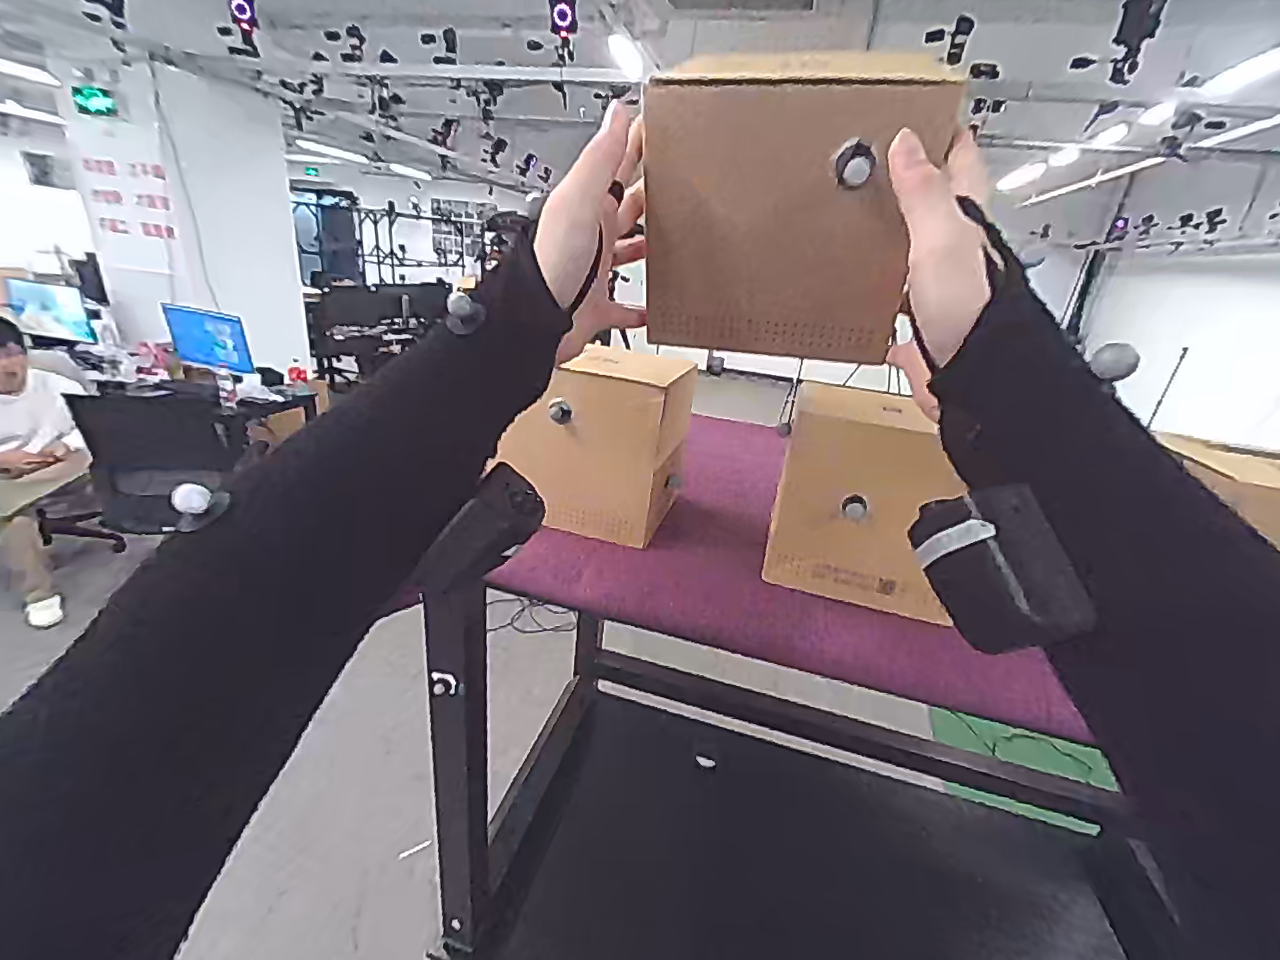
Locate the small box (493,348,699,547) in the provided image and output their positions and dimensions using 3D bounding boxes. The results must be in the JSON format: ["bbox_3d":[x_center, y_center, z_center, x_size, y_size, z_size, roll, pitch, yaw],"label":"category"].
[{"bbox_3d":[-0.046,-0.042,0.594,0.179,0.176,0.168,12,22,12],"label":"small box"}]

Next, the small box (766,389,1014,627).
[{"bbox_3d":[0.222,0.016,0.527,0.168,0.176,0.179,11,20,13],"label":"small box"}]

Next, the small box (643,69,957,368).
[{"bbox_3d":[0.108,-0.200,0.413,0.179,0.176,0.168,9,41,13],"label":"small box"}]
